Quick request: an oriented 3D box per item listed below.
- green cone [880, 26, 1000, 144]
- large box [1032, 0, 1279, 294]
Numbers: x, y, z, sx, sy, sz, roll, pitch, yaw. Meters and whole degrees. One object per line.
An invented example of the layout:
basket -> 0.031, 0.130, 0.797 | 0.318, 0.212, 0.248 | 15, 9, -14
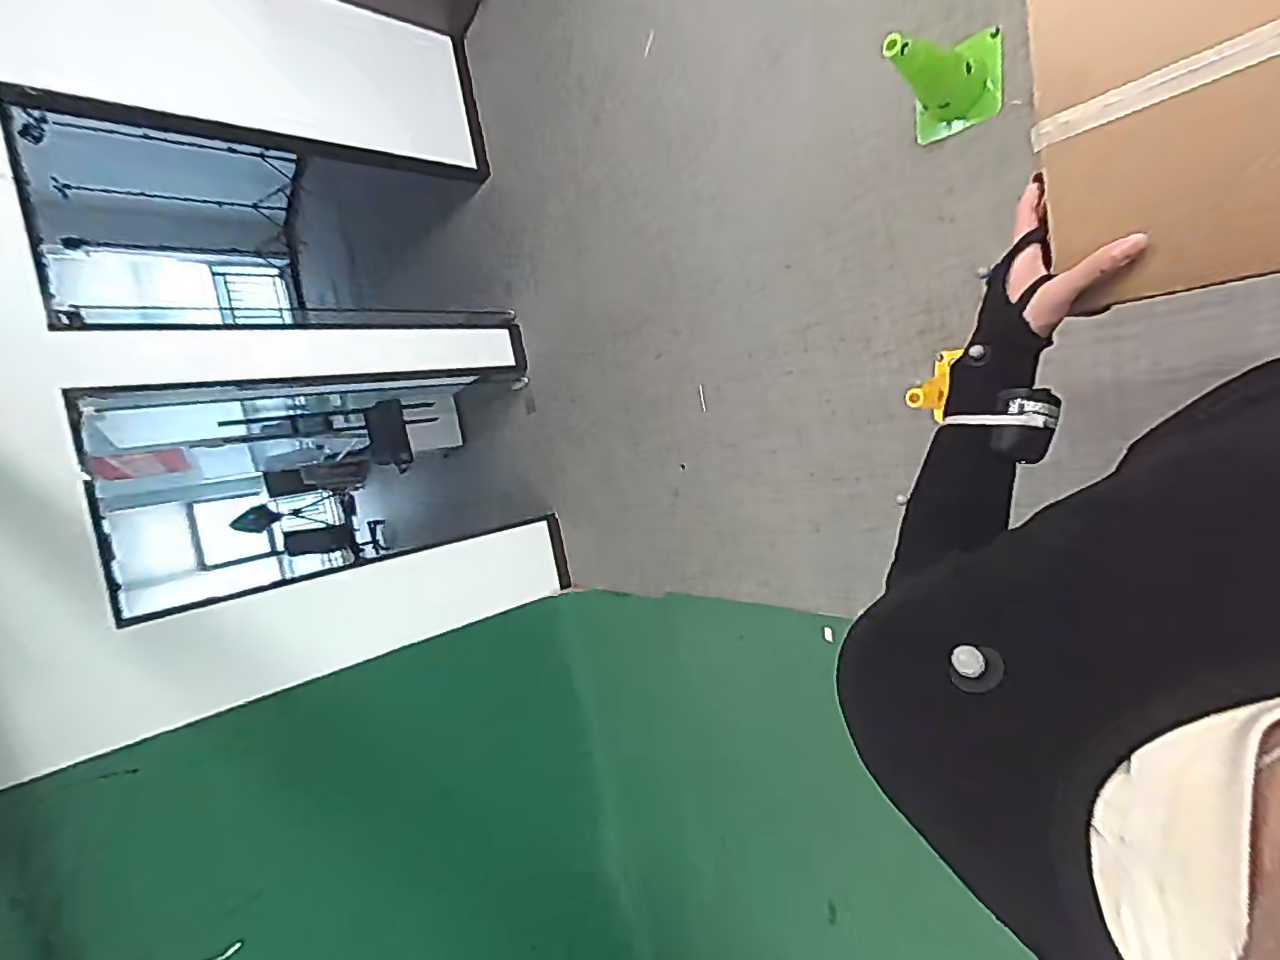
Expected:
green cone -> 0.669, -0.967, 1.274 | 0.200, 0.368, 0.202 | 3, 104, 51
large box -> 0.591, -0.365, 0.418 | 0.408, 0.320, 0.320 | -2, 106, 49
